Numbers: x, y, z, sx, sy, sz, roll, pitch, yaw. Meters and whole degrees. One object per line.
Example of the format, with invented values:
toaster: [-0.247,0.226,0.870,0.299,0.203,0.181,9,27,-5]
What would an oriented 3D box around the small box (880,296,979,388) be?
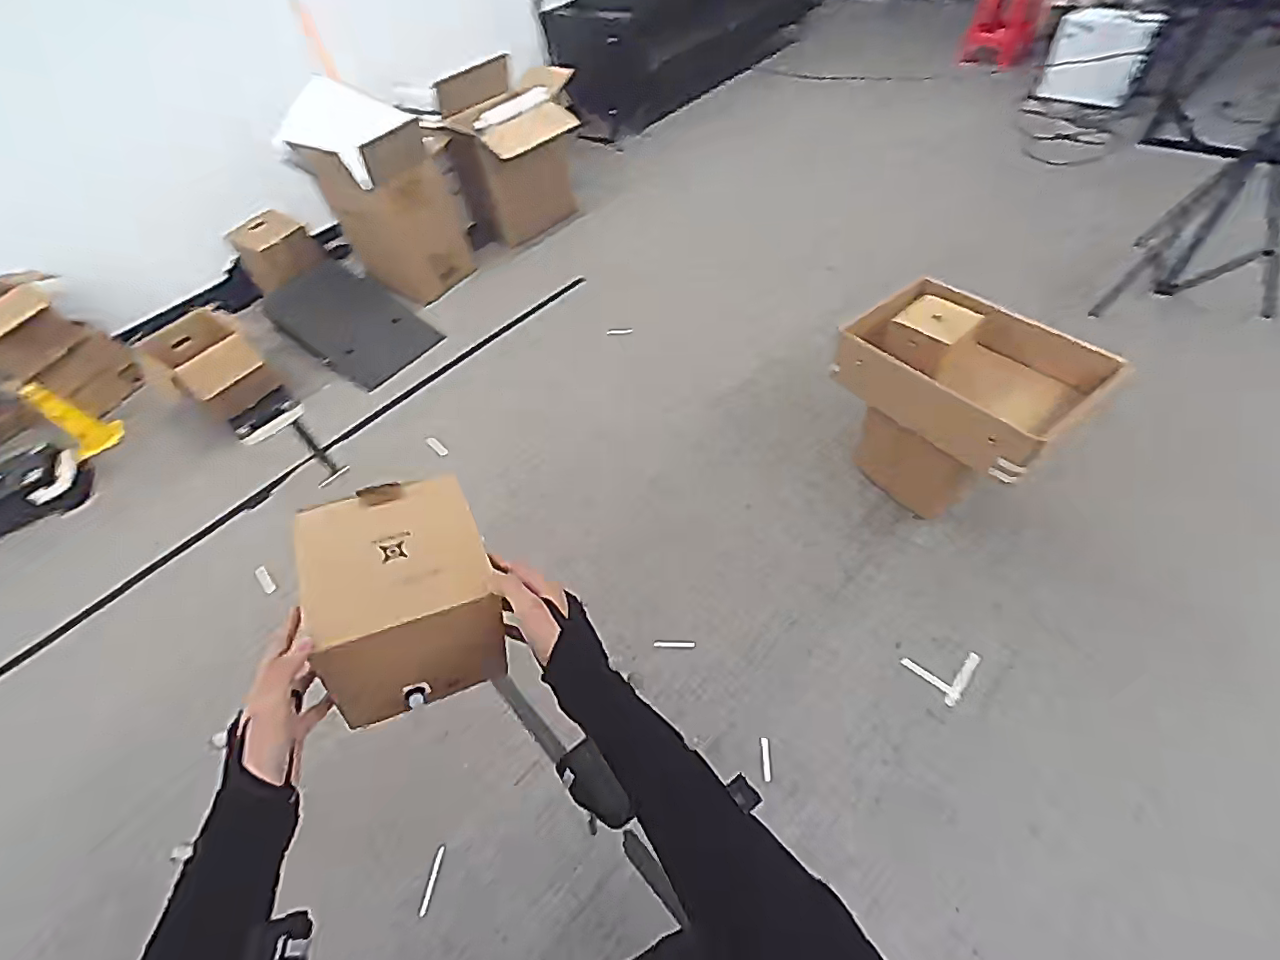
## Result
small box: [0.836,-0.402,1.583,0.168,0.176,0.179,-36,56,-18]
